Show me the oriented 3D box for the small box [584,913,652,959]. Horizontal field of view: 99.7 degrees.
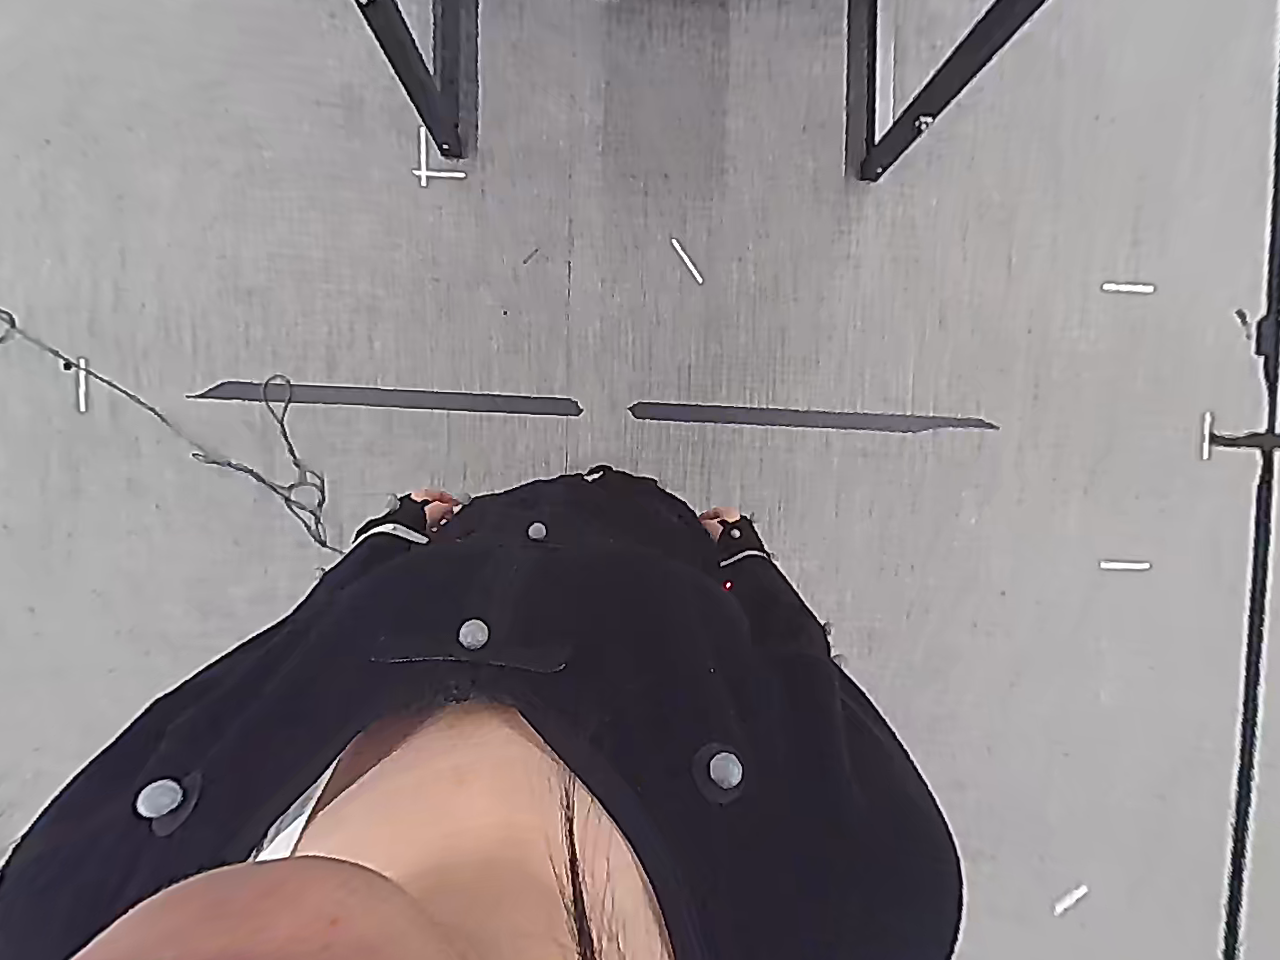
[{"bbox_3d":[-0.064,1.313,1.458,0.179,0.176,0.168,4,92,-5],"label":"small box"}]
